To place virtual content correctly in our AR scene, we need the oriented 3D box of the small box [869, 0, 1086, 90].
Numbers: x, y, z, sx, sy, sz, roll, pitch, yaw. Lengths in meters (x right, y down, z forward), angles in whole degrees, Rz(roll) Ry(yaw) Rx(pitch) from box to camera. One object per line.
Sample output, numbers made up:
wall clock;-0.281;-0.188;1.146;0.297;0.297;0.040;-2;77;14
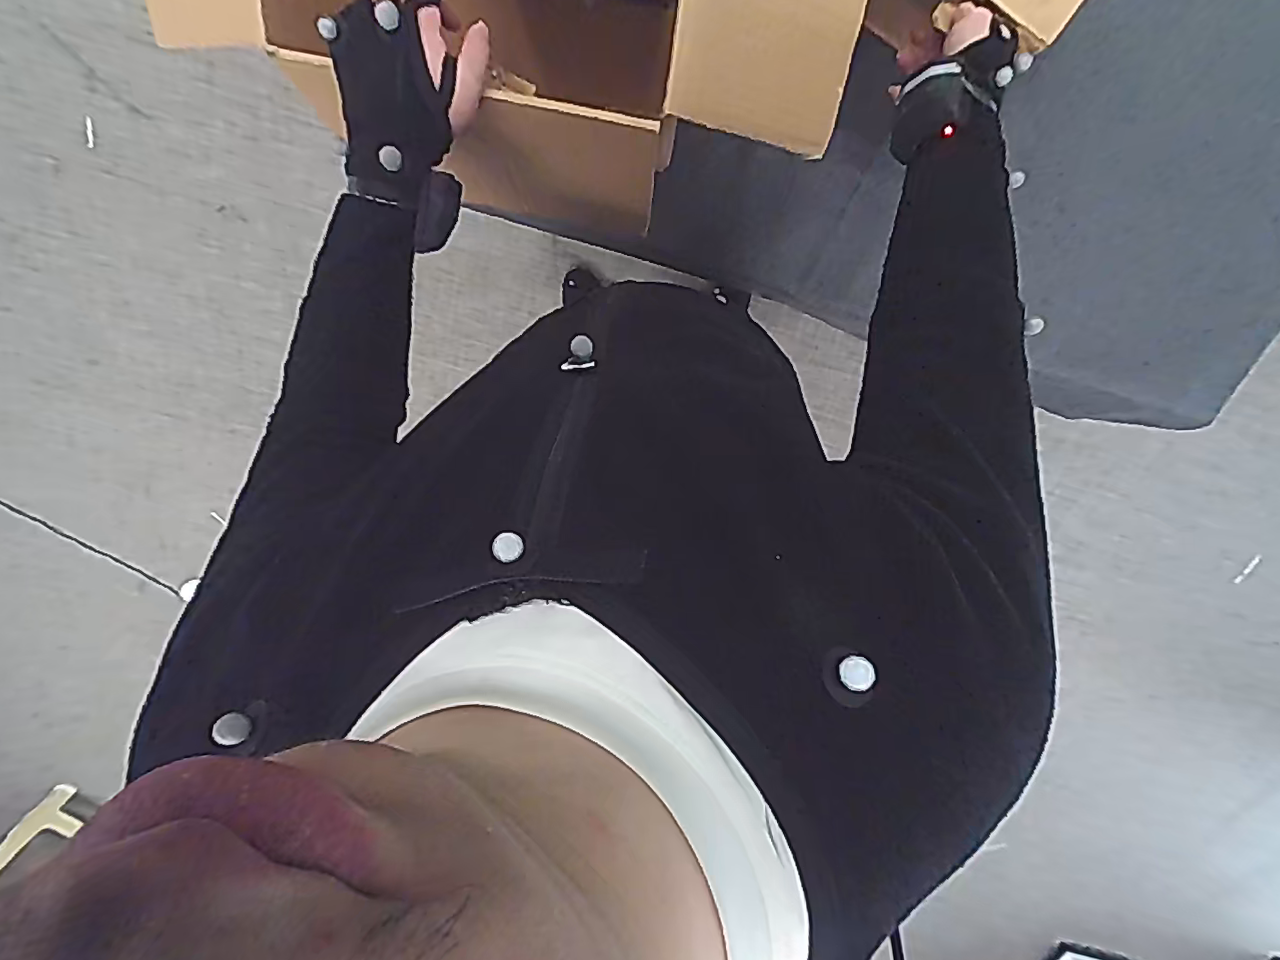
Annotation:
small box;0.354;-0.532;0.530;0.168;0.176;0.179;29;111;-10
